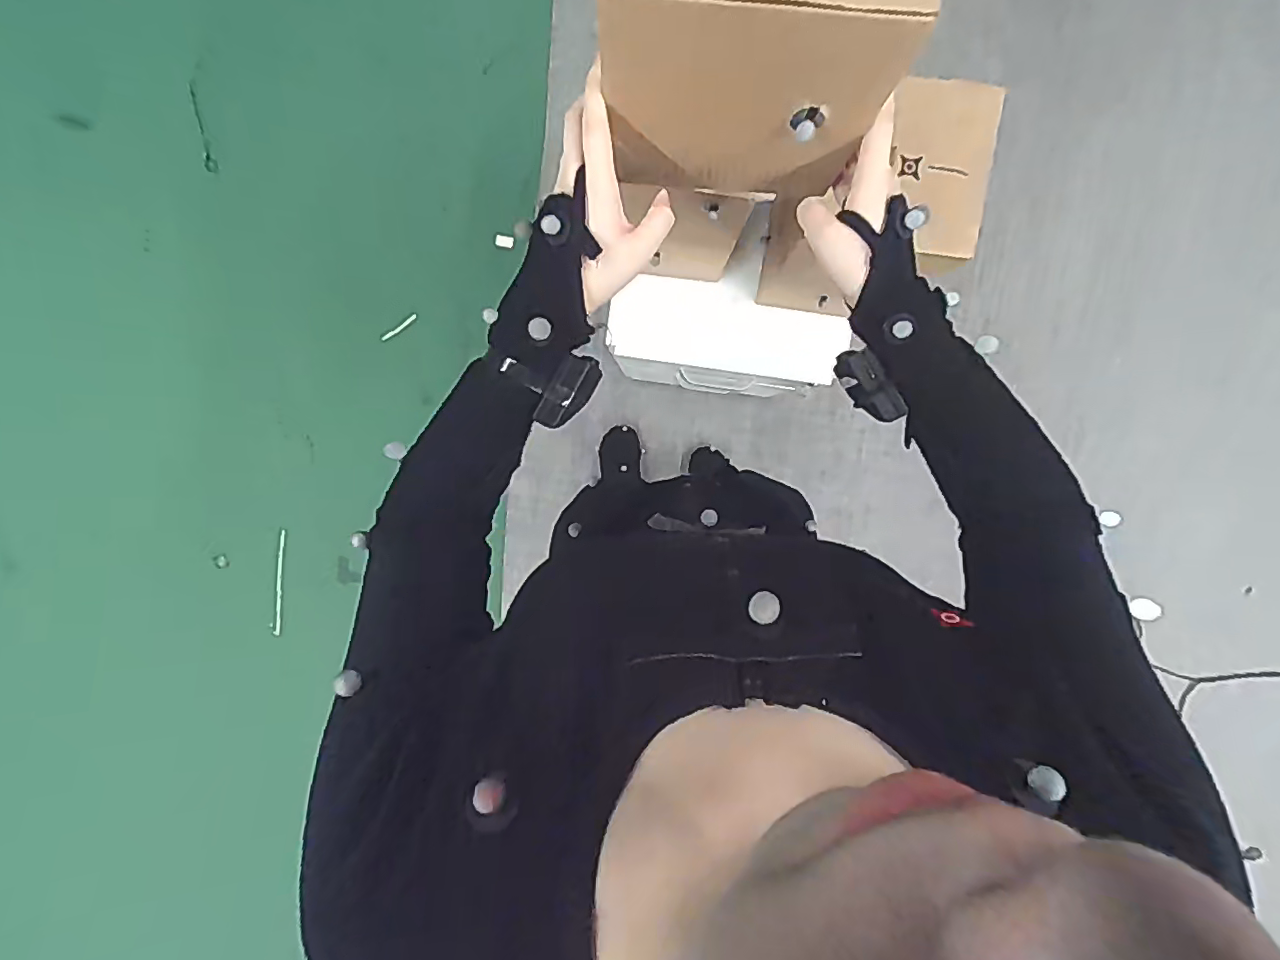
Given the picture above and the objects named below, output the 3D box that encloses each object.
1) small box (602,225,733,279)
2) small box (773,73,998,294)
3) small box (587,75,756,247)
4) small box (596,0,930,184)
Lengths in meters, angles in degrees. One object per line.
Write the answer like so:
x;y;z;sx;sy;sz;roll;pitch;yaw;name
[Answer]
0.045;-0.404;0.788;0.179;0.176;0.168;7;95;-1;small box
0.261;-0.324;0.622;0.179;0.176;0.168;8;95;2;small box
0.043;-0.388;0.624;0.179;0.176;0.168;8;95;-2;small box
0.067;-0.324;0.358;0.179;0.176;0.168;3;87;0;small box
